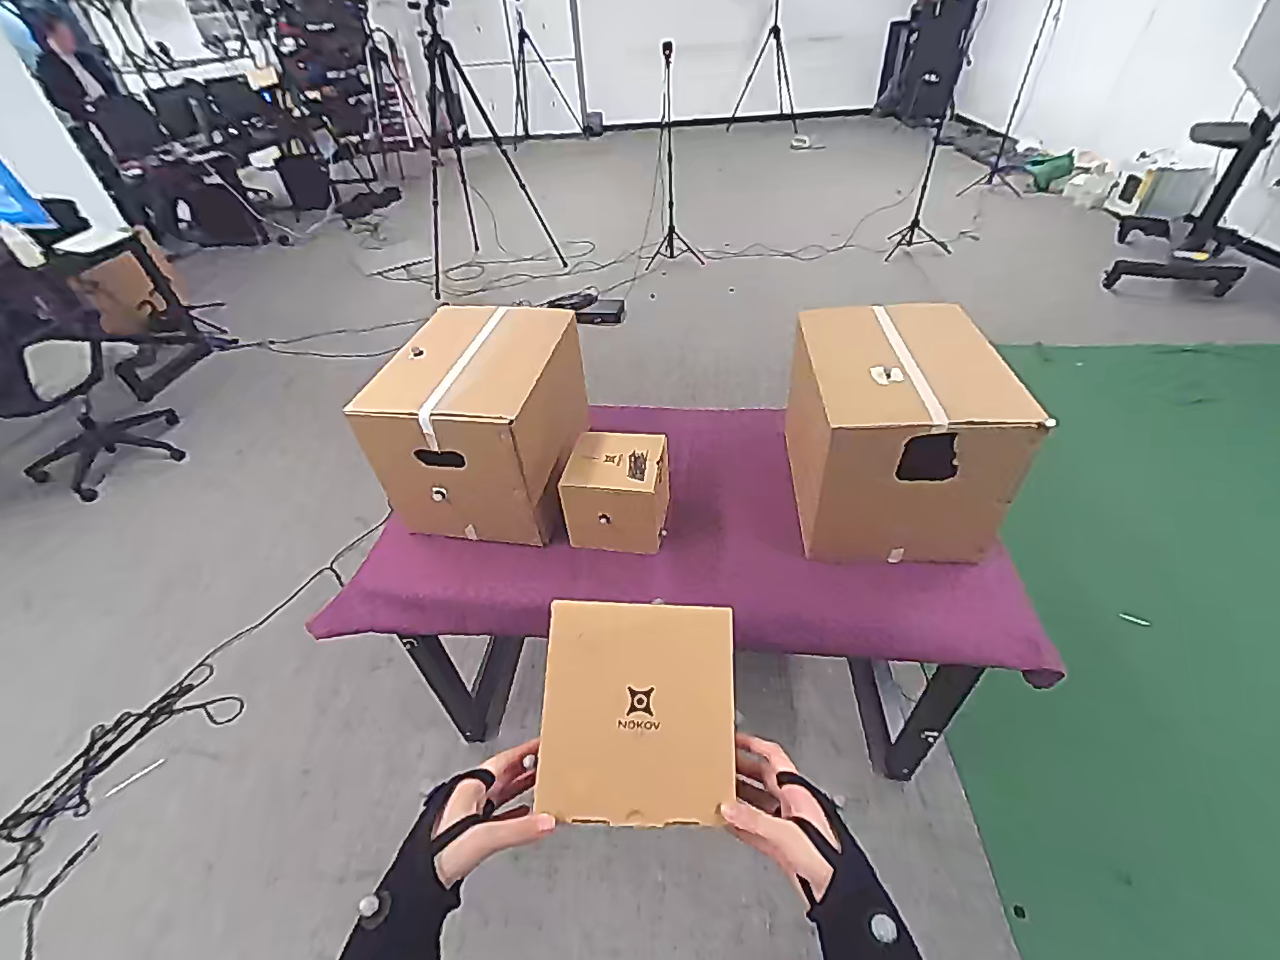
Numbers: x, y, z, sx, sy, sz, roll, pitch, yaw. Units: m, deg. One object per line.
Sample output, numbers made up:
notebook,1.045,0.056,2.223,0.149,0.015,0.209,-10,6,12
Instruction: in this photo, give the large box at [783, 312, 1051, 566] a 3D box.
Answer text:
large box,0.467,-0.087,1.037,0.320,0.320,0.408,-1,42,7

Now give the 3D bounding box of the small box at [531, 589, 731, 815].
small box,-0.010,0.212,0.537,0.168,0.176,0.179,4,70,-4
